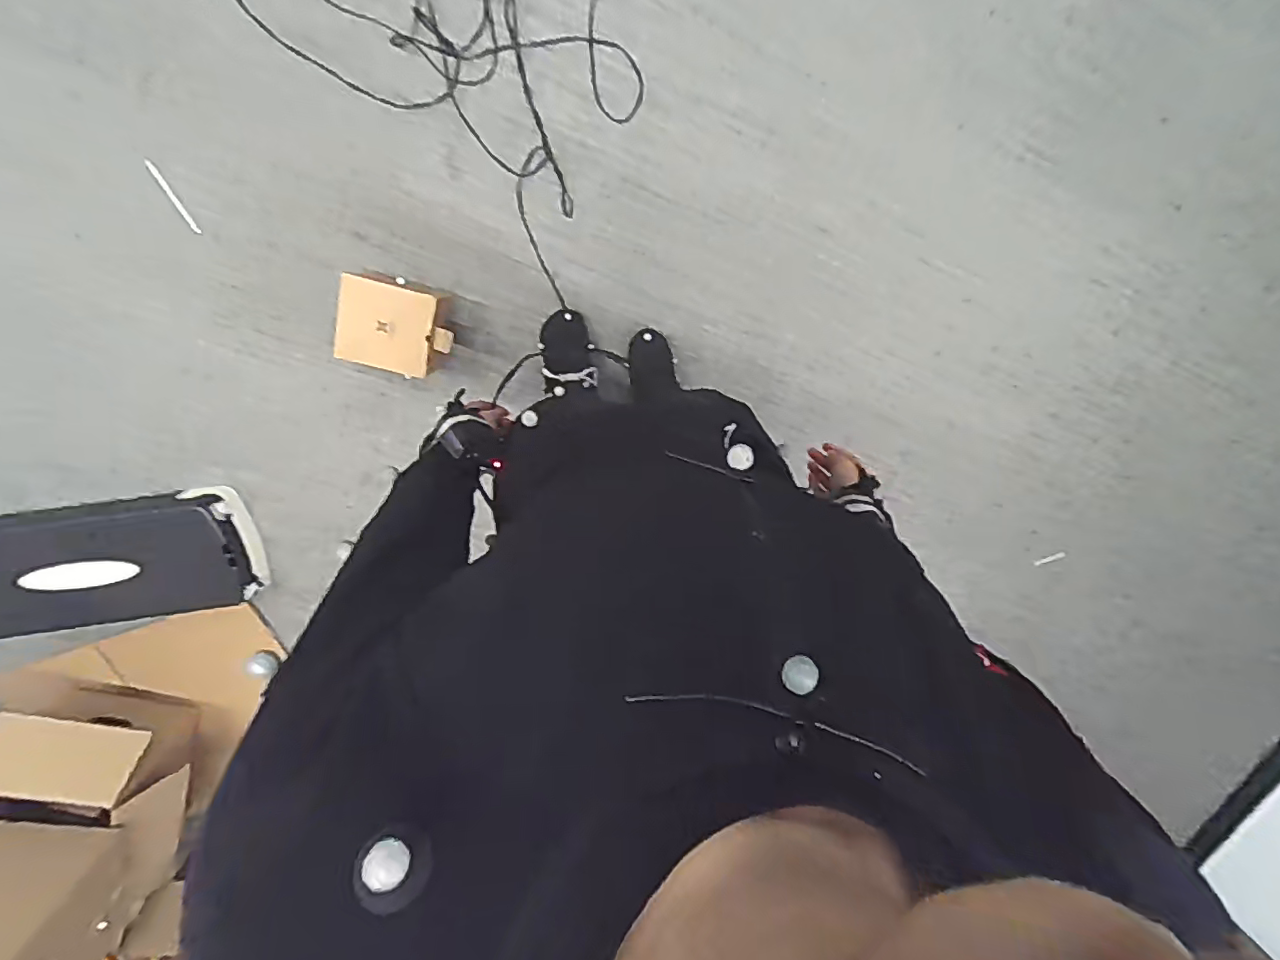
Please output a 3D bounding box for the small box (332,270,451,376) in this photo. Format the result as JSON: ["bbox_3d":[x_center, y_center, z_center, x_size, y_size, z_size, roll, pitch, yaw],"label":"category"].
[{"bbox_3d":[-0.509,-0.326,1.125,0.179,0.176,0.168,12,107,-13],"label":"small box"}]
